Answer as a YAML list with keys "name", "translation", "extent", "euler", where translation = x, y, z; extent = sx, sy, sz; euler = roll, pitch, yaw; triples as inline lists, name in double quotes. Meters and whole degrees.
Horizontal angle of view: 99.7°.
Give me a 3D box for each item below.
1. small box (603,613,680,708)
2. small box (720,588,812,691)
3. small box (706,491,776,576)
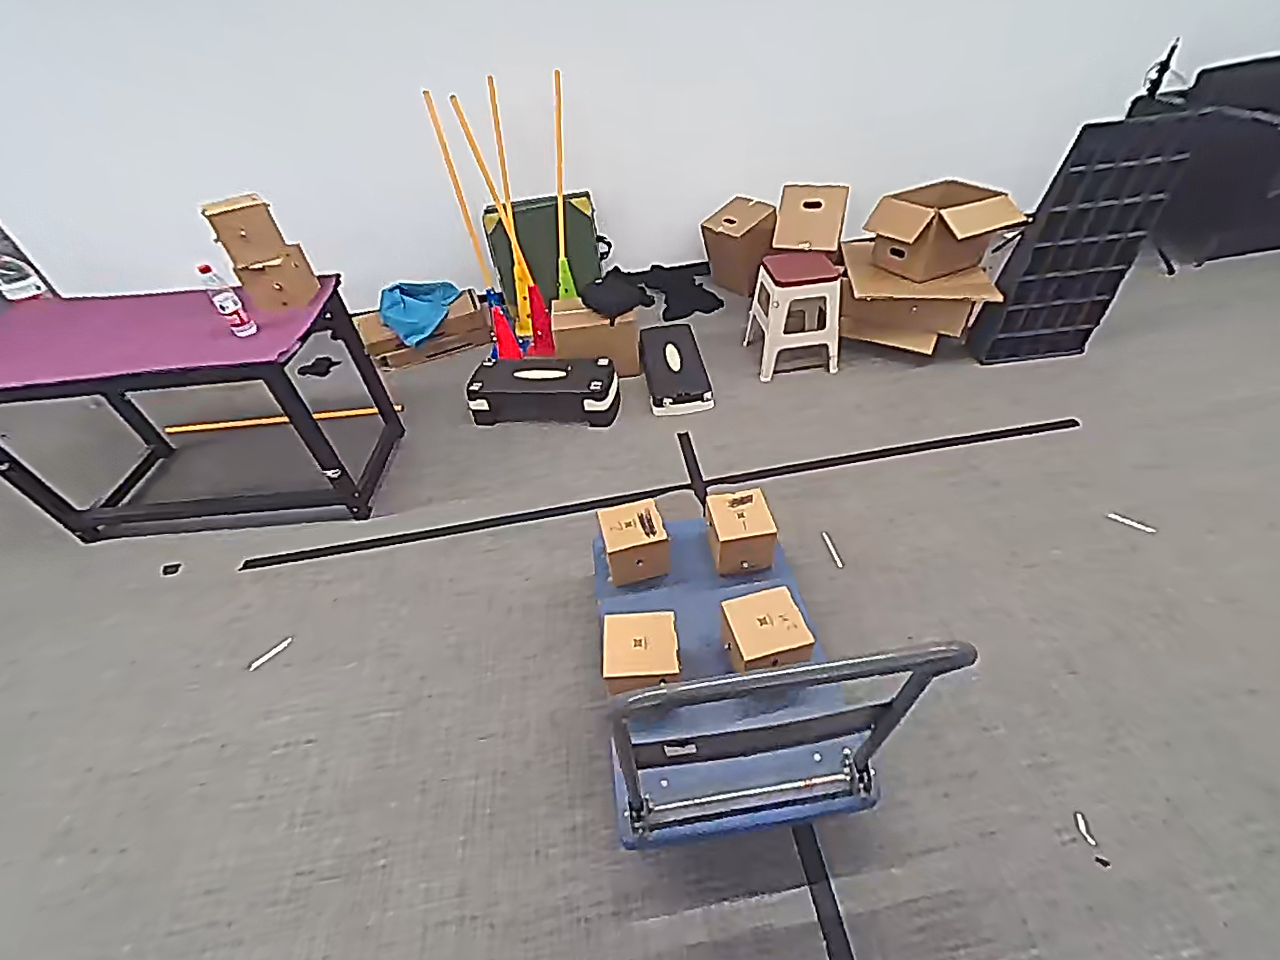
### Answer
- name: "small box"
  translation: [0.006, 0.451, 1.342]
  extent: [0.179, 0.176, 0.168]
  euler: [-4, 43, 1]
- name: "small box"
  translation: [0.309, 0.403, 1.356]
  extent: [0.179, 0.176, 0.168]
  euler: [-12, 44, -6]
- name: "small box"
  translation: [0.293, 0.160, 1.611]
  extent: [0.168, 0.176, 0.179]
  euler: [-9, 45, -2]
